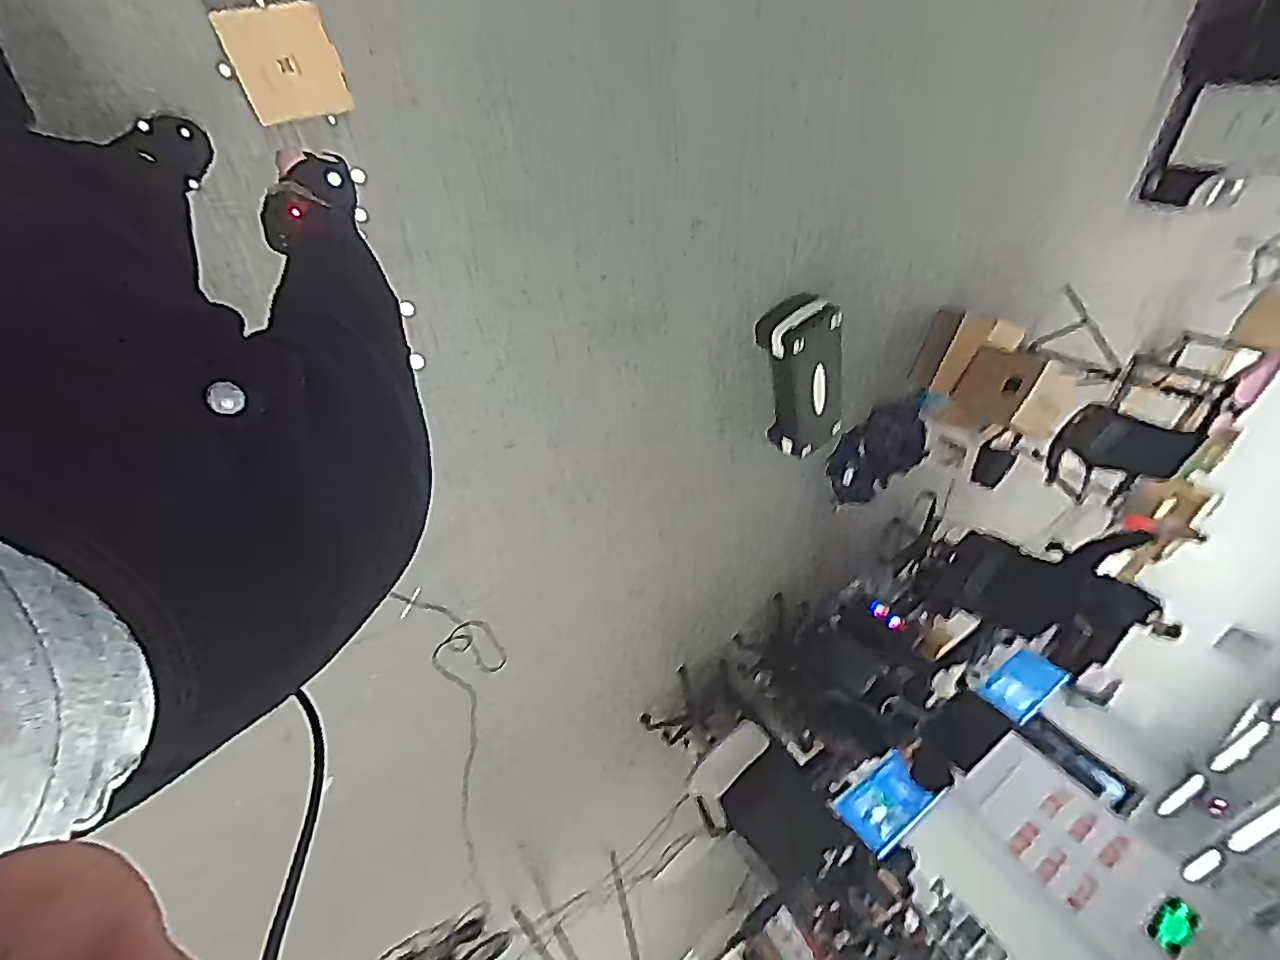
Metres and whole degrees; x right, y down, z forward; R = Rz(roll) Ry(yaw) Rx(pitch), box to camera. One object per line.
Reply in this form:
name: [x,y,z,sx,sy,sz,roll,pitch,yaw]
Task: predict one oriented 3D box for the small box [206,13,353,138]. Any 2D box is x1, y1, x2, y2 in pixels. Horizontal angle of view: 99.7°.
small box: [-0.691,-0.775,1.041,0.179,0.176,0.168,-28,131,-19]
